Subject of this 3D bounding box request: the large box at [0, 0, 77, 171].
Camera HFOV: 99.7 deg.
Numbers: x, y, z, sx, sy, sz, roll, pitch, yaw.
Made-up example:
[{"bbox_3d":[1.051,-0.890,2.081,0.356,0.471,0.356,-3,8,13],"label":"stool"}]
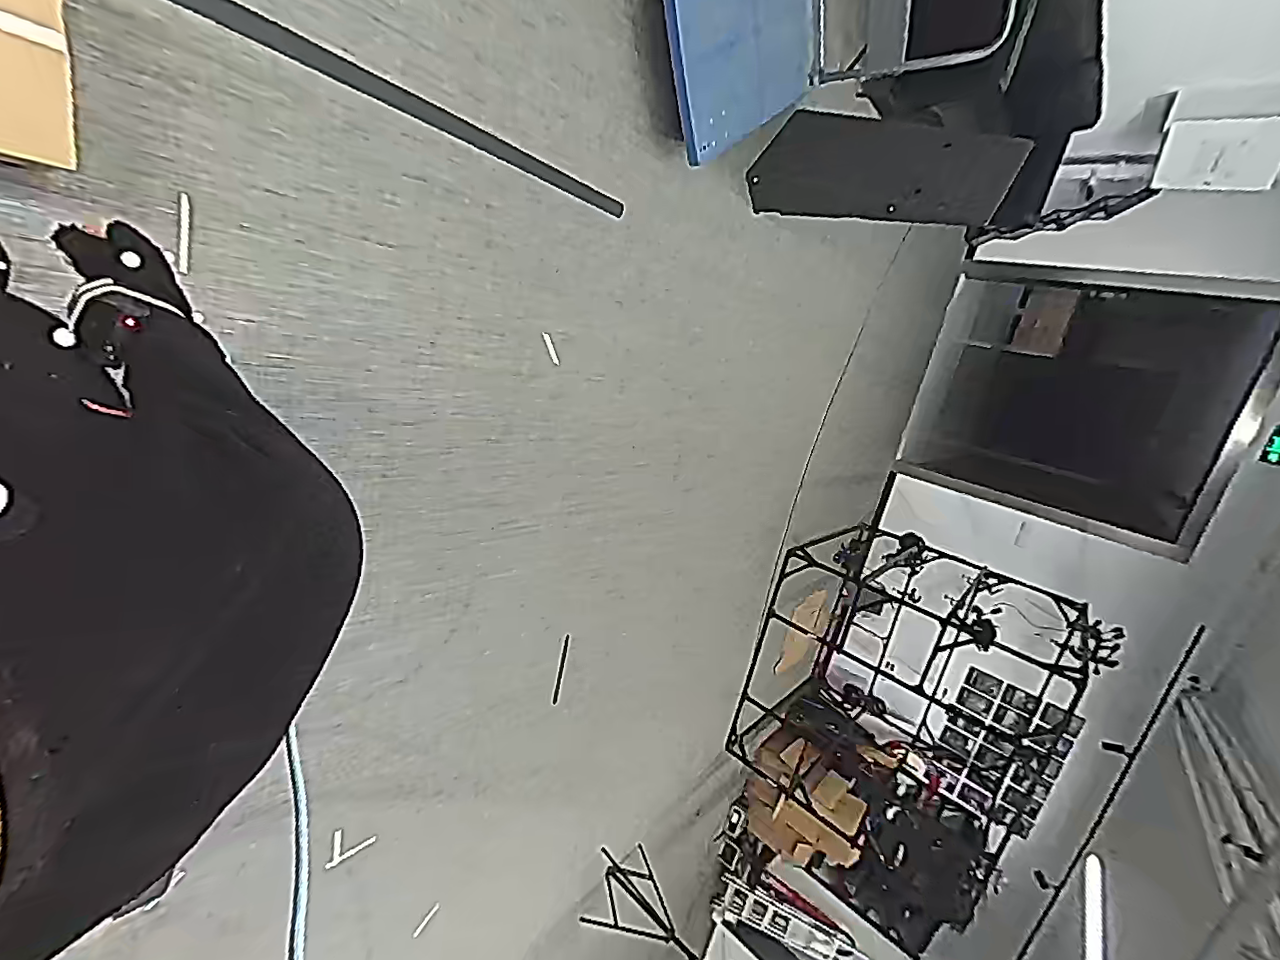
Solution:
[{"bbox_3d":[-1.017,-0.613,0.663,0.408,0.320,0.320,-9,116,-52],"label":"large box"}]
